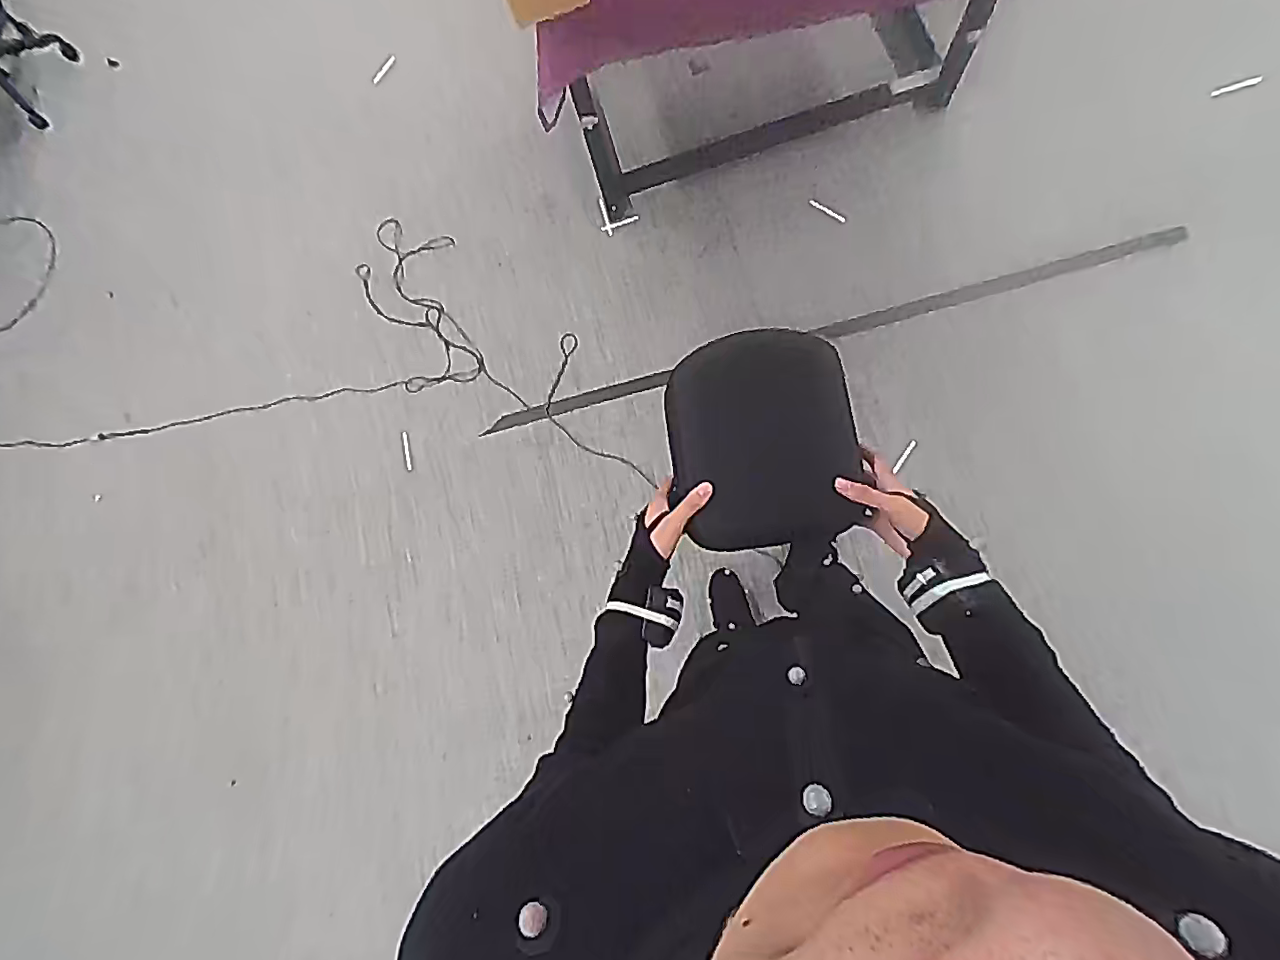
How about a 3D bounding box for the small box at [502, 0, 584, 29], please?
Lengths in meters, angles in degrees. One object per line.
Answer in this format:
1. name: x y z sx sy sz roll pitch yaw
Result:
1. small box: -0.229 -1.102 1.129 0.179 0.176 0.168 -18 77 4
